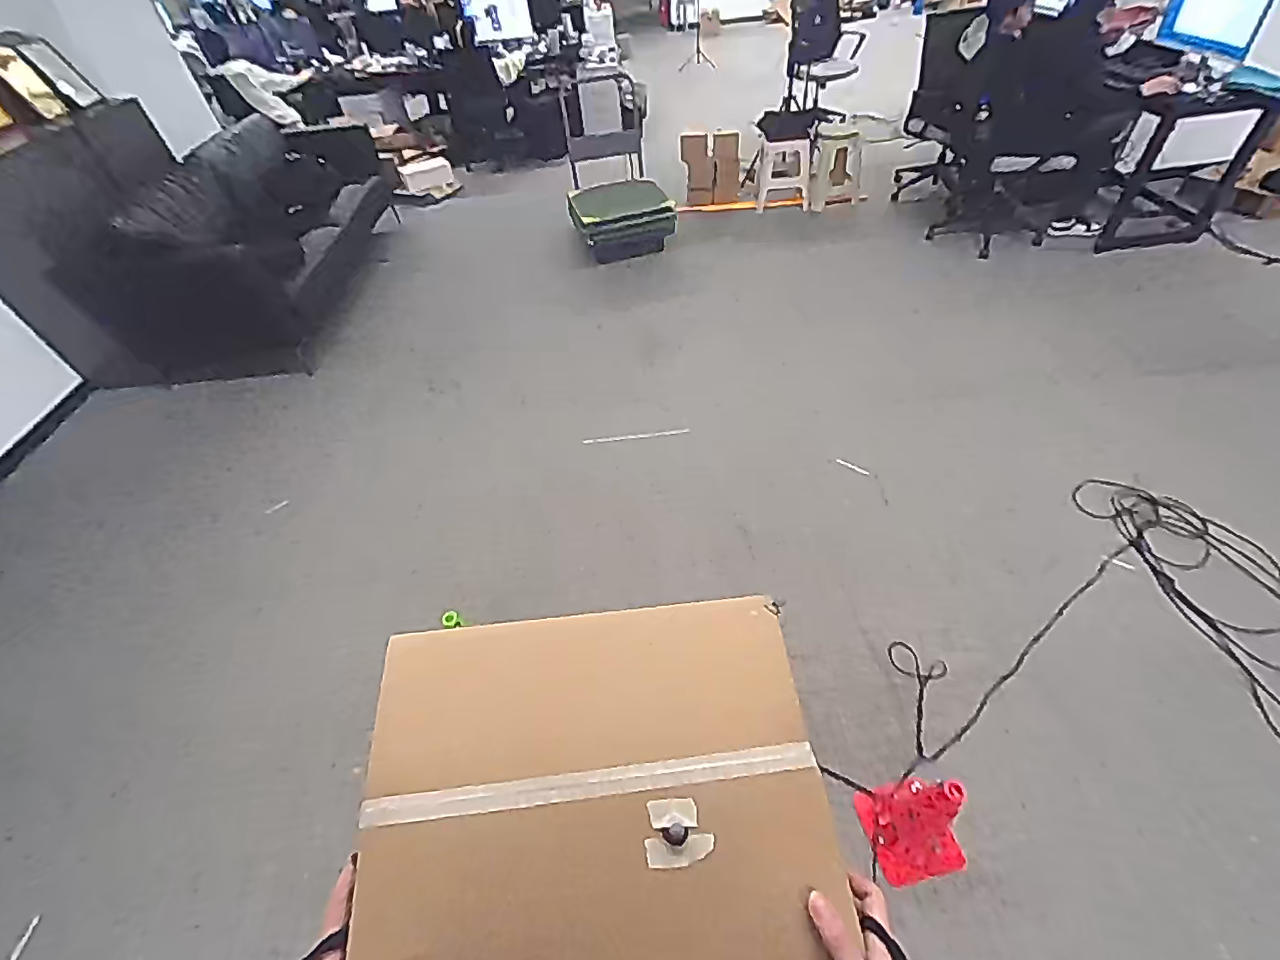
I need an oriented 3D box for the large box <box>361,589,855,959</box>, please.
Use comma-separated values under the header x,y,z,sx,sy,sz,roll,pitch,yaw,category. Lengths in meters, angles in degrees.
x,y,z,sx,sy,sz,roll,pitch,yaw,category
-0.041,0.348,0.626,0.408,0.320,0.320,-5,58,-4,large box
